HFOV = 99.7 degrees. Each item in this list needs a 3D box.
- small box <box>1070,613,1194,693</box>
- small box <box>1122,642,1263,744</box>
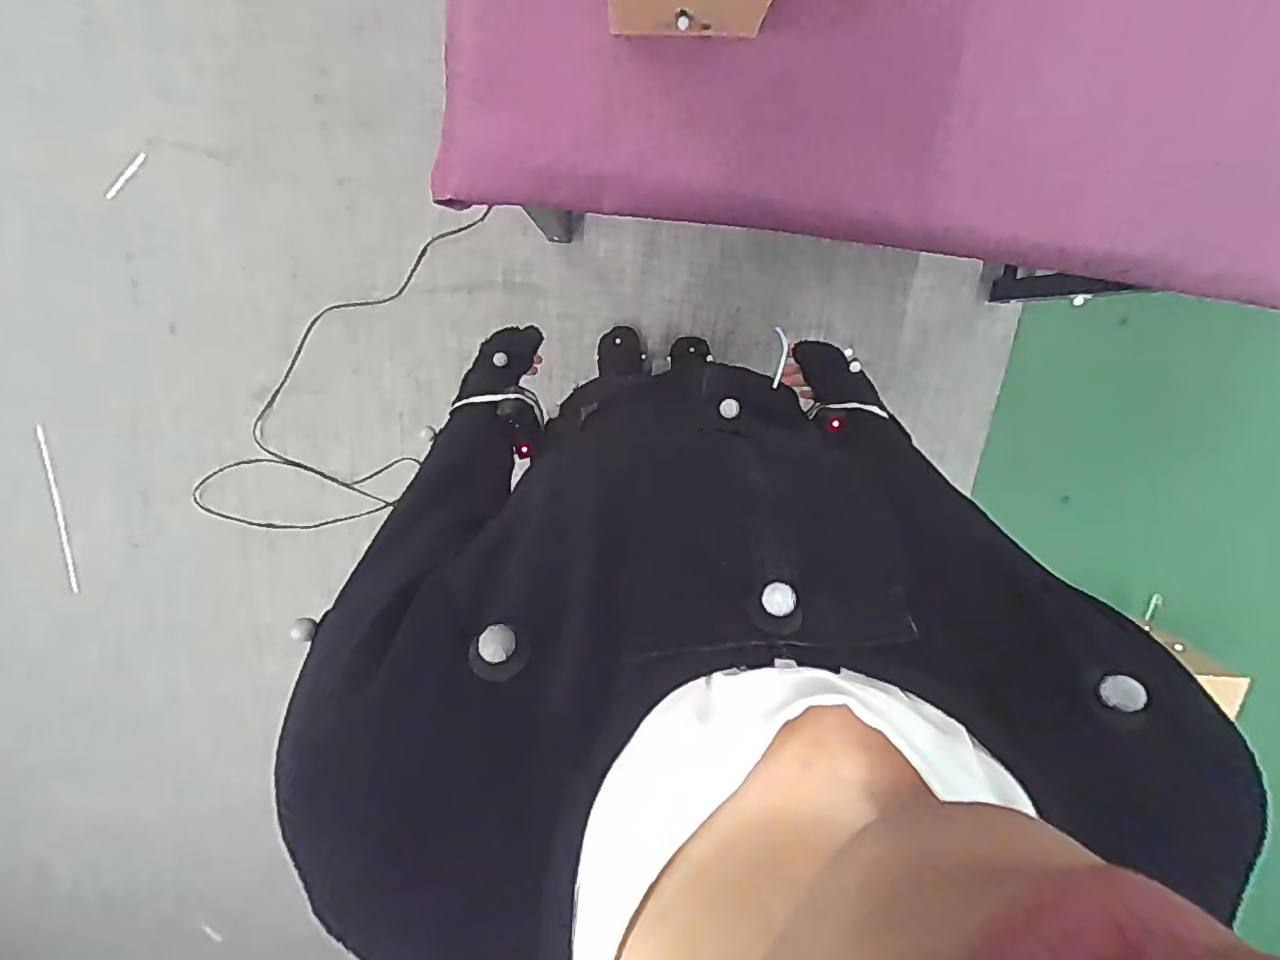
[{"bbox_3d":[1.417,0.500,1.569,0.179,0.176,0.168,5,105,-3],"label":"small box"},{"bbox_3d":[1.424,0.550,1.410,0.168,0.176,0.179,7,106,-5],"label":"small box"}]
